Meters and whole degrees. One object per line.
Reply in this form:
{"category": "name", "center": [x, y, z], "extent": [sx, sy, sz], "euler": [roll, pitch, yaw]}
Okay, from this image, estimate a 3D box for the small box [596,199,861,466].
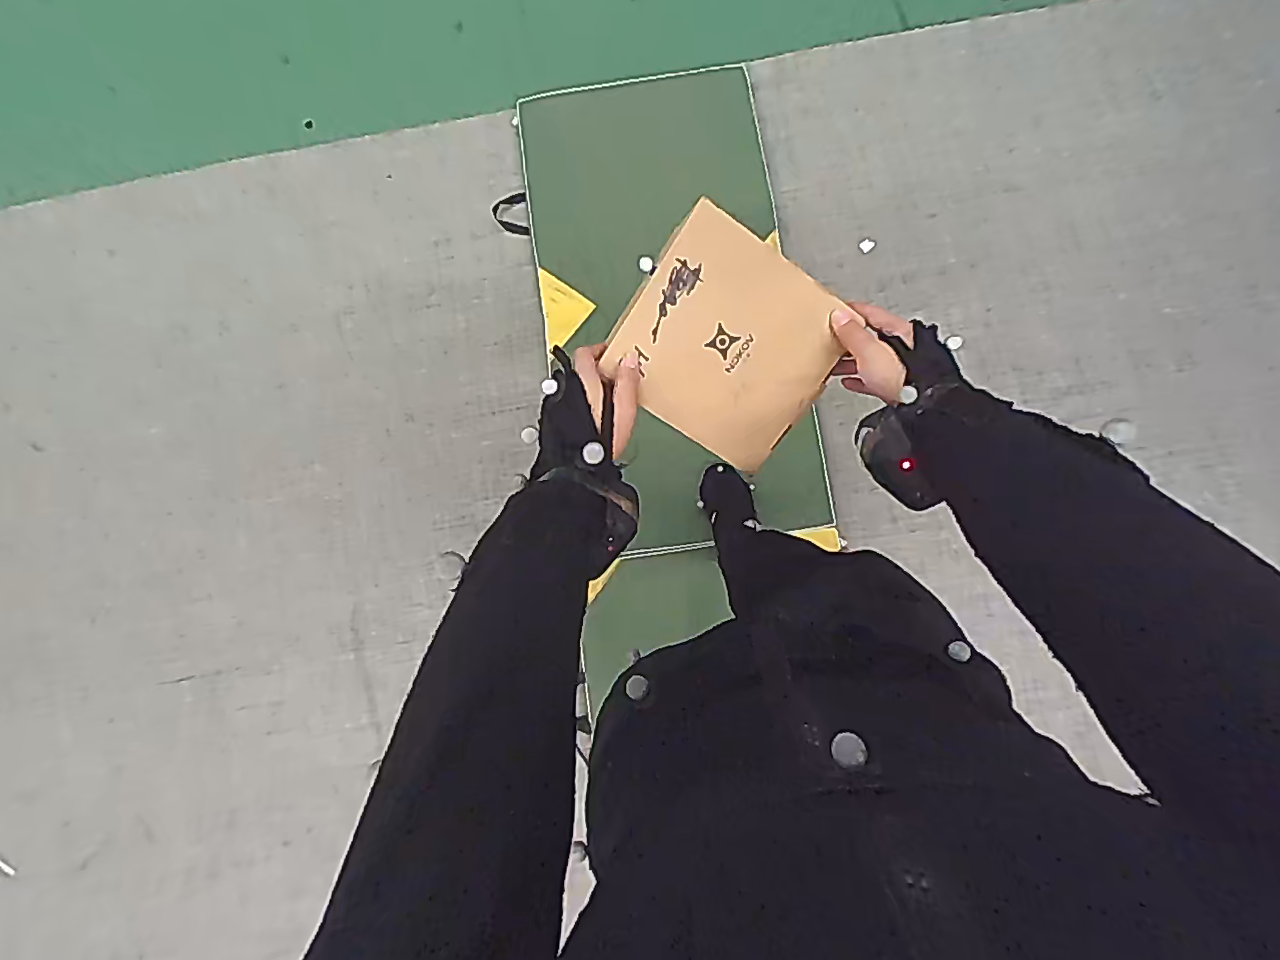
{"category": "small box", "center": [0.074, -0.145, 0.543], "extent": [0.179, 0.176, 0.168], "euler": [32, 104, -11]}
